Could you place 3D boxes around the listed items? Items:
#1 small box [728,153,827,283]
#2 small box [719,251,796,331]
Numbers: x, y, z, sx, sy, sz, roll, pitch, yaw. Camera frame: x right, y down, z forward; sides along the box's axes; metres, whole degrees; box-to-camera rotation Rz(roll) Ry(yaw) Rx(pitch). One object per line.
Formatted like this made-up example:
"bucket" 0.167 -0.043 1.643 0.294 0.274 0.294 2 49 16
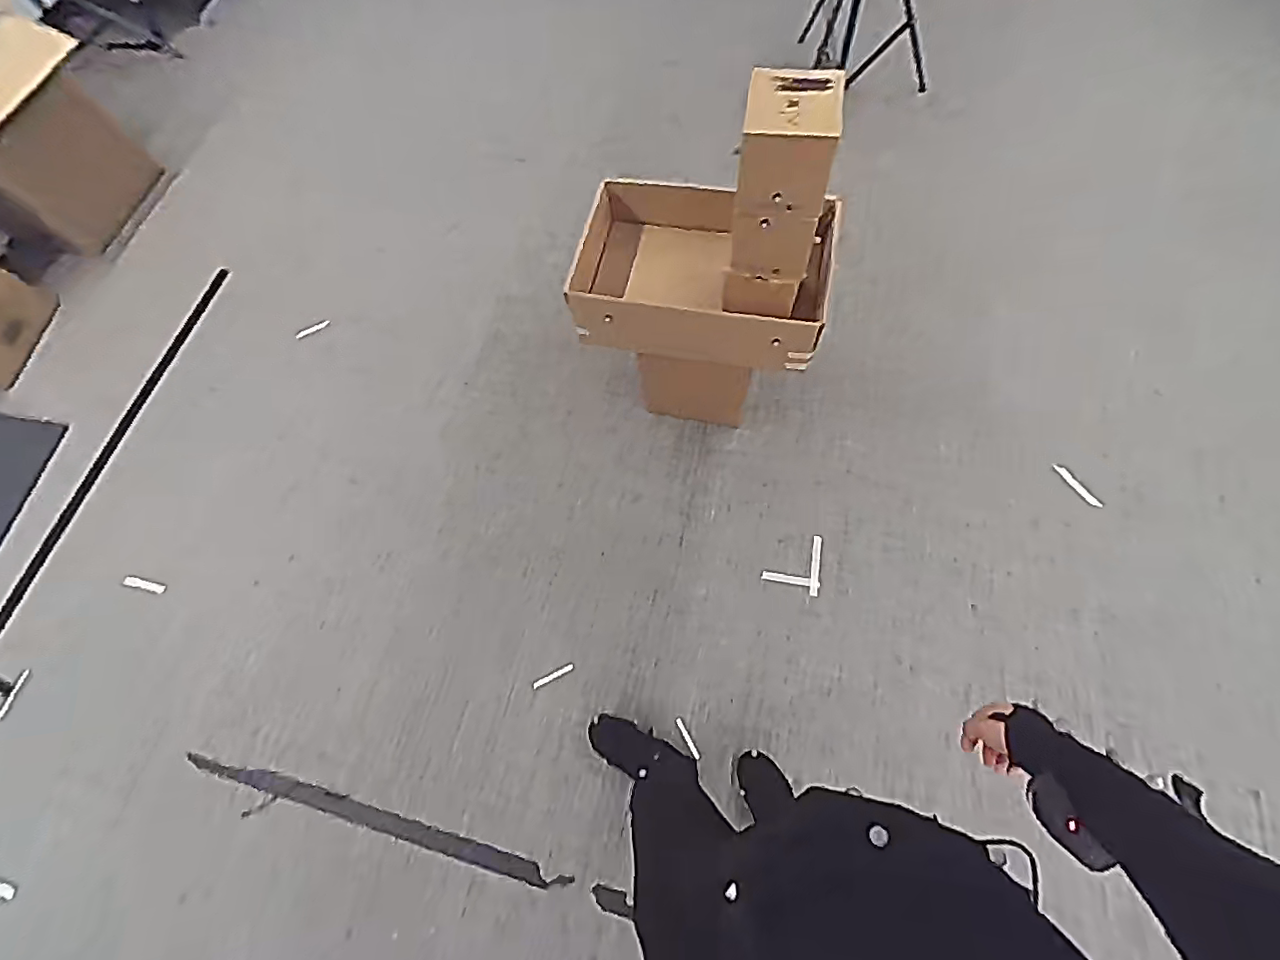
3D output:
"small box" 0.290 -0.560 1.165 0.168 0.176 0.179 13 68 11
"small box" 0.293 -0.492 1.314 0.168 0.176 0.179 17 69 11
